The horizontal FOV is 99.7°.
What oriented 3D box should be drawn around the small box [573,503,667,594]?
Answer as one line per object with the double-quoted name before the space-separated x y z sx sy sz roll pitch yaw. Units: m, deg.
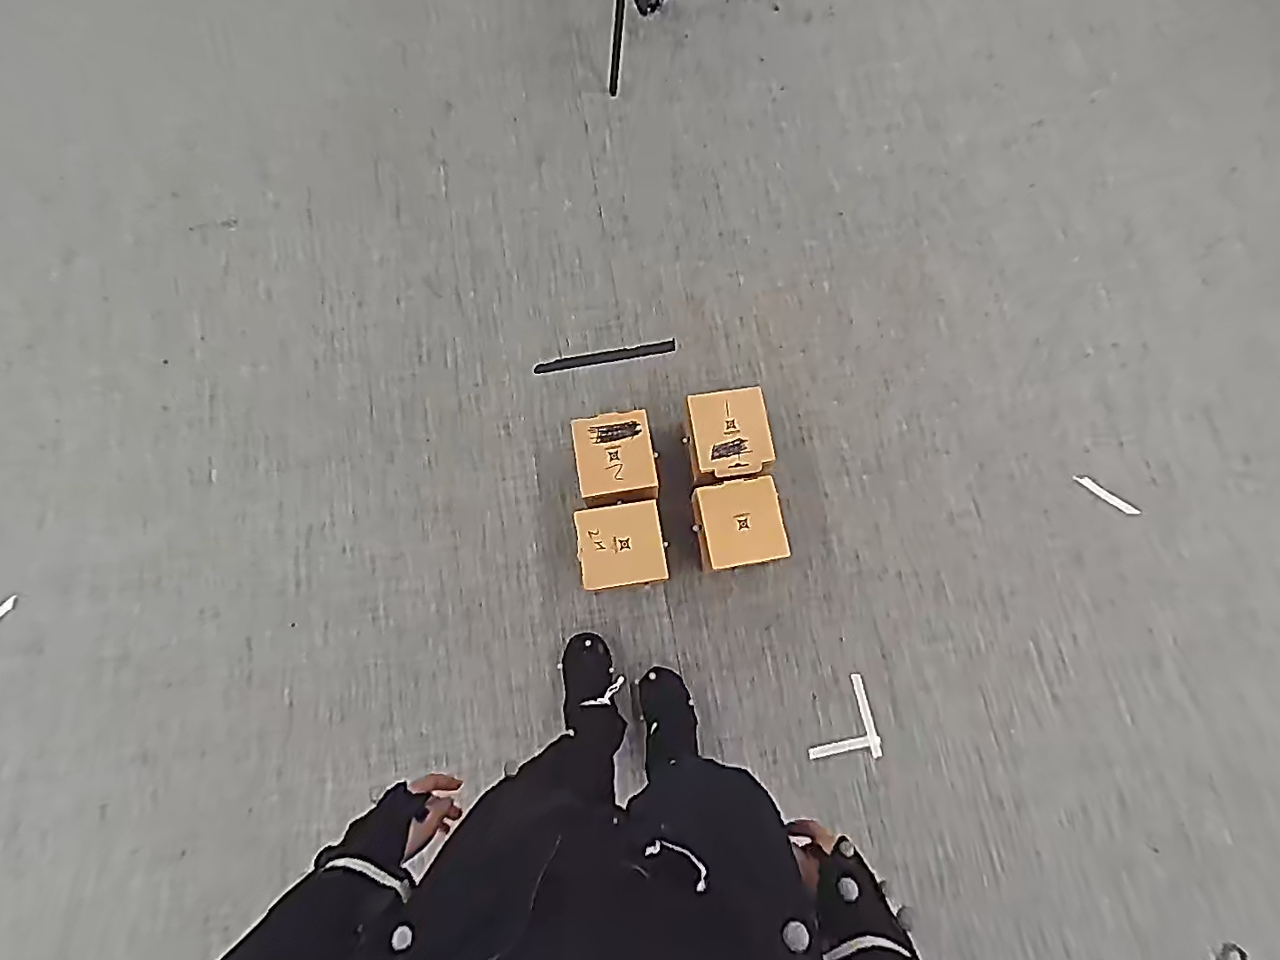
"small box" -0.043 0.153 1.175 0.179 0.176 0.168 -9 77 -2
